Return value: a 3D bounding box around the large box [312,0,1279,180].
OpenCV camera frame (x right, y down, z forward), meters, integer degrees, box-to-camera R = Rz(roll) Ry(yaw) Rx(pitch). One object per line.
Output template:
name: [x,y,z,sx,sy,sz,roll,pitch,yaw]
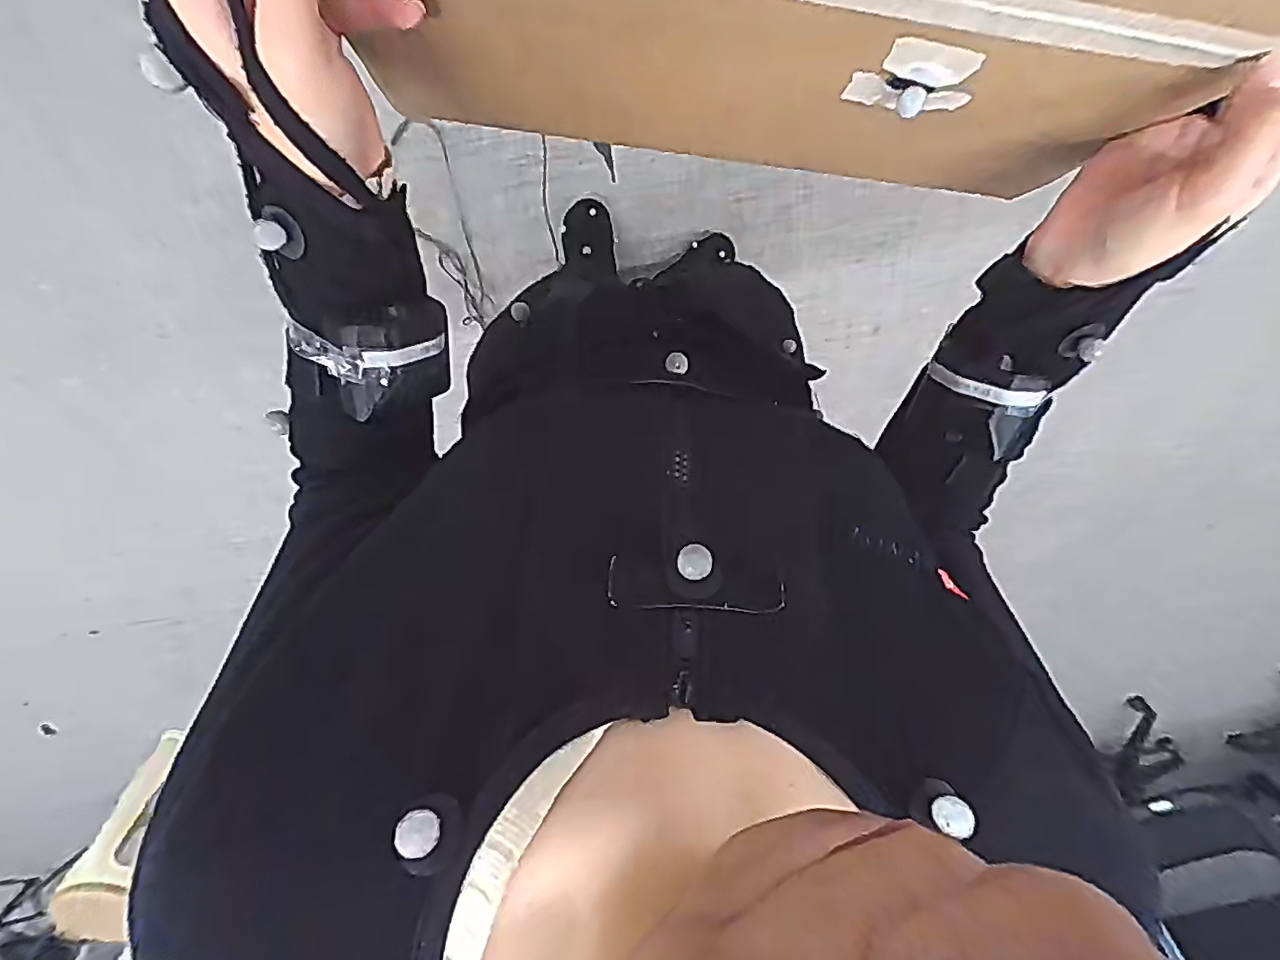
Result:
large box: [0.066,-0.342,0.182,0.408,0.320,0.320,3,99,-5]
